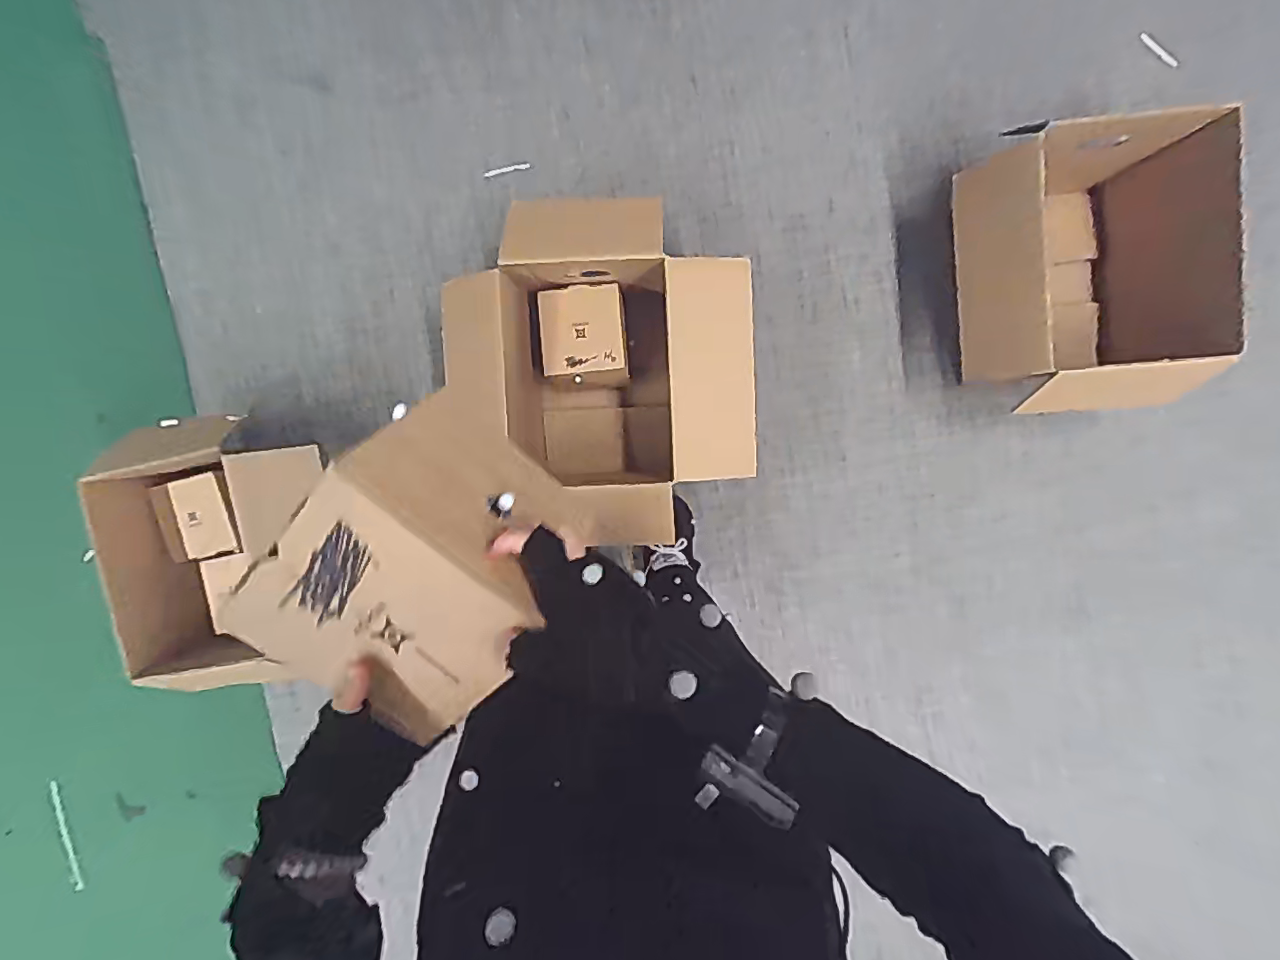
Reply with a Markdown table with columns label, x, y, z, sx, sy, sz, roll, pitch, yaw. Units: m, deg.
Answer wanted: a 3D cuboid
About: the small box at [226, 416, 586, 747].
| label | x | y | z | sx | sy | sz | roll | pitch | yaw |
| --- | --- | --- | --- | --- | --- | --- | --- | --- | --- |
| small box | -0.167 | 0.068 | 0.442 | 0.179 | 0.176 | 0.168 | 42 | 112 | -15 |
